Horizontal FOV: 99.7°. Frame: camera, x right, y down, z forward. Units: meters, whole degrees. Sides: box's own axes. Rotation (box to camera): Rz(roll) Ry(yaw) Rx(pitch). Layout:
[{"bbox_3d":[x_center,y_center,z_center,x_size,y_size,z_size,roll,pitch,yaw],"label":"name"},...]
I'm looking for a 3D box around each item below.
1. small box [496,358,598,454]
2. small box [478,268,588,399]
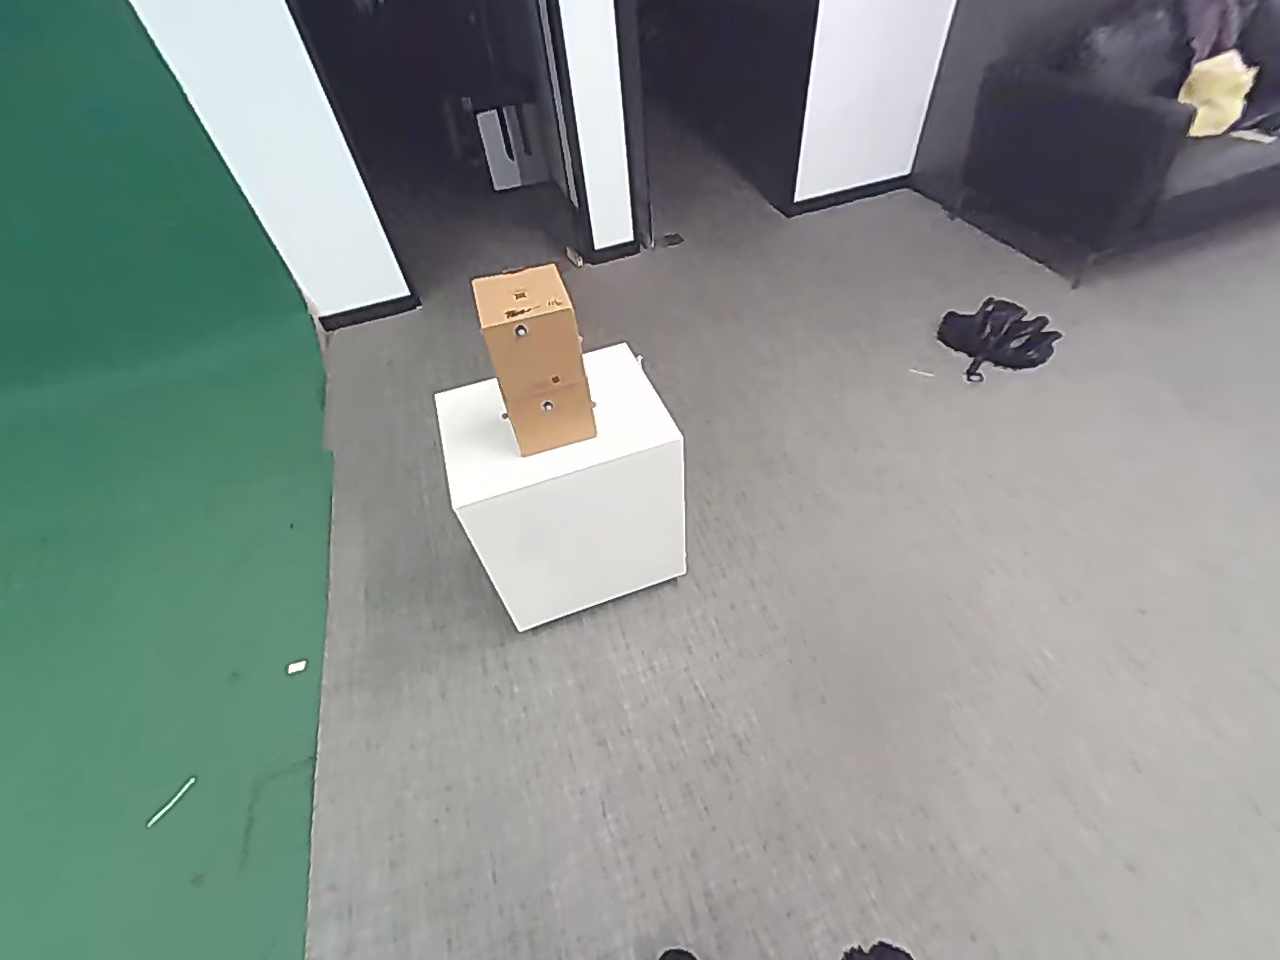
[{"bbox_3d":[-0.202,-0.181,1.192,0.179,0.176,0.168,-16,50,-9],"label":"small box"},{"bbox_3d":[-0.210,-0.289,1.072,0.168,0.176,0.179,-17,50,-10],"label":"small box"}]
